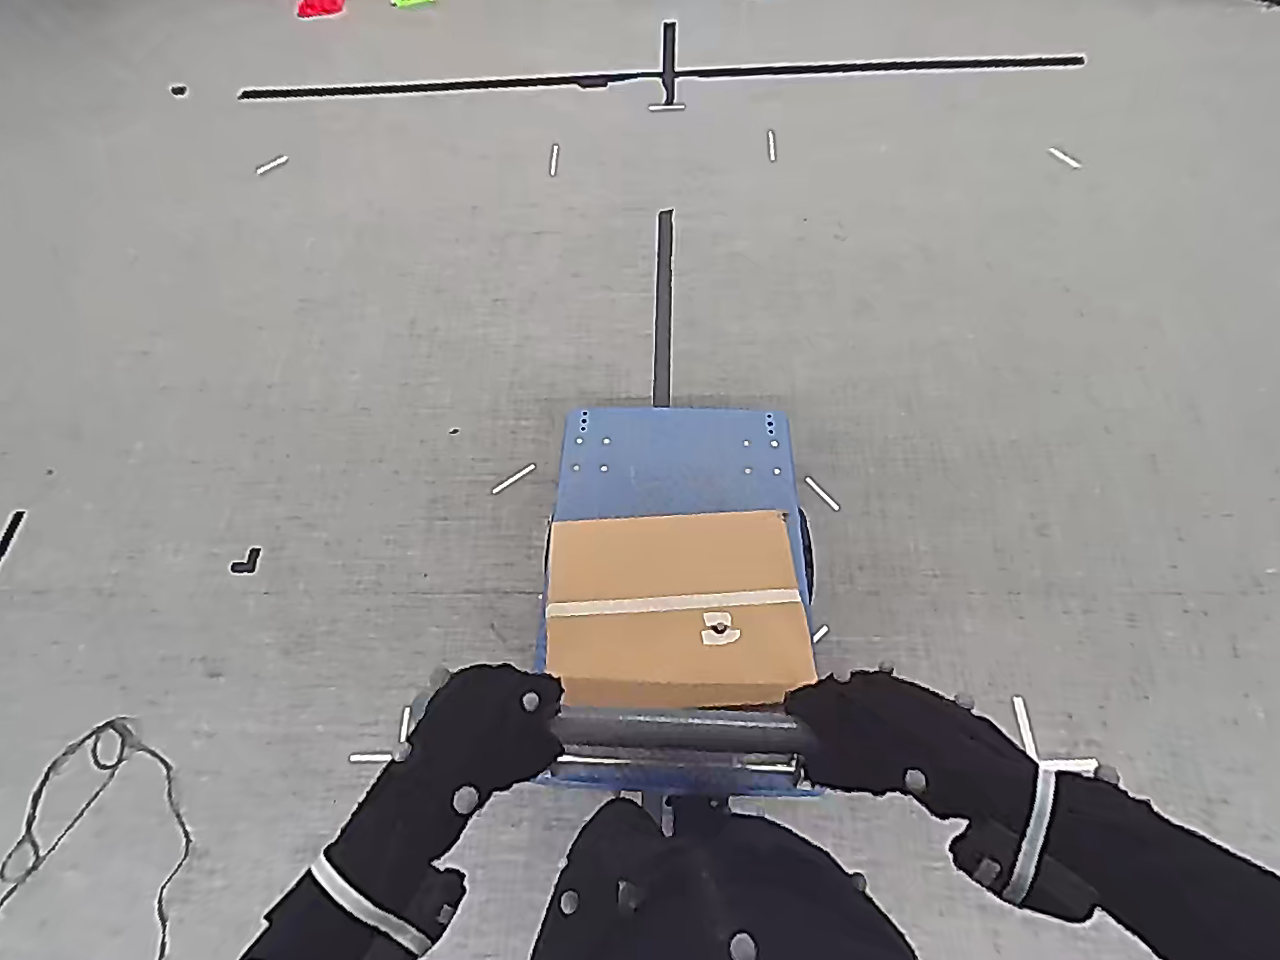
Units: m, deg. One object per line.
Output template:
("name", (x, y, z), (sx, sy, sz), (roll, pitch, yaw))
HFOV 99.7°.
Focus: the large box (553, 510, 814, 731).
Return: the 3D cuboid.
("large box", (0.057, 0.272, 1.011), (0.408, 0.320, 0.320), (-3, 61, -1))
